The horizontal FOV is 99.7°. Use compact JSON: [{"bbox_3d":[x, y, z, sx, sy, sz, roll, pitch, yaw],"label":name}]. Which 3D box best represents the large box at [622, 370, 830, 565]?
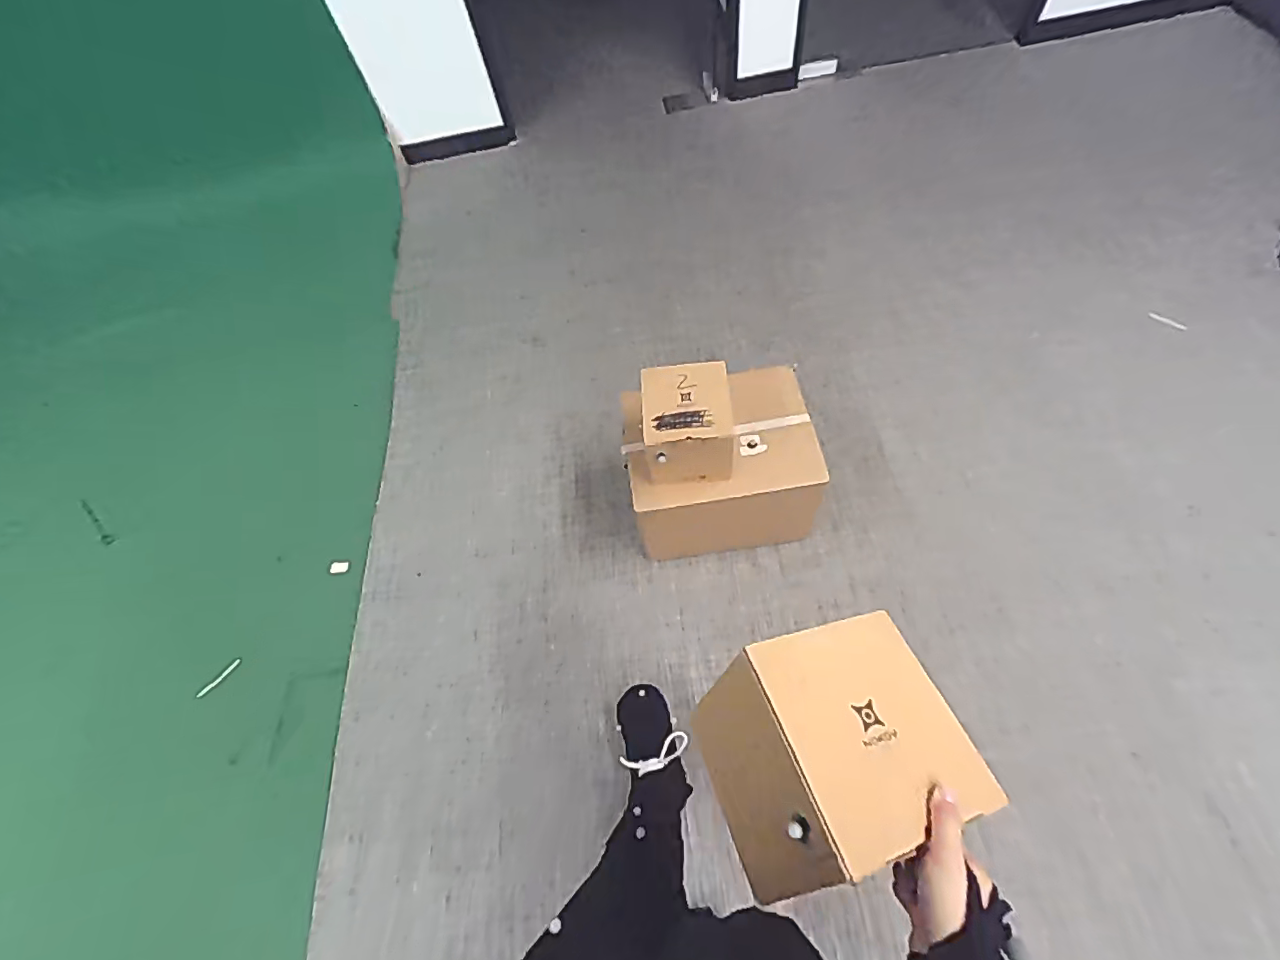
[{"bbox_3d":[0.185,-0.017,1.298,0.408,0.320,0.320,-9,62,1],"label":"large box"}]

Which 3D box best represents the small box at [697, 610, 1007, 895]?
[{"bbox_3d":[0.172,0.250,0.504,0.168,0.176,0.179,-6,51,-22],"label":"small box"}]
